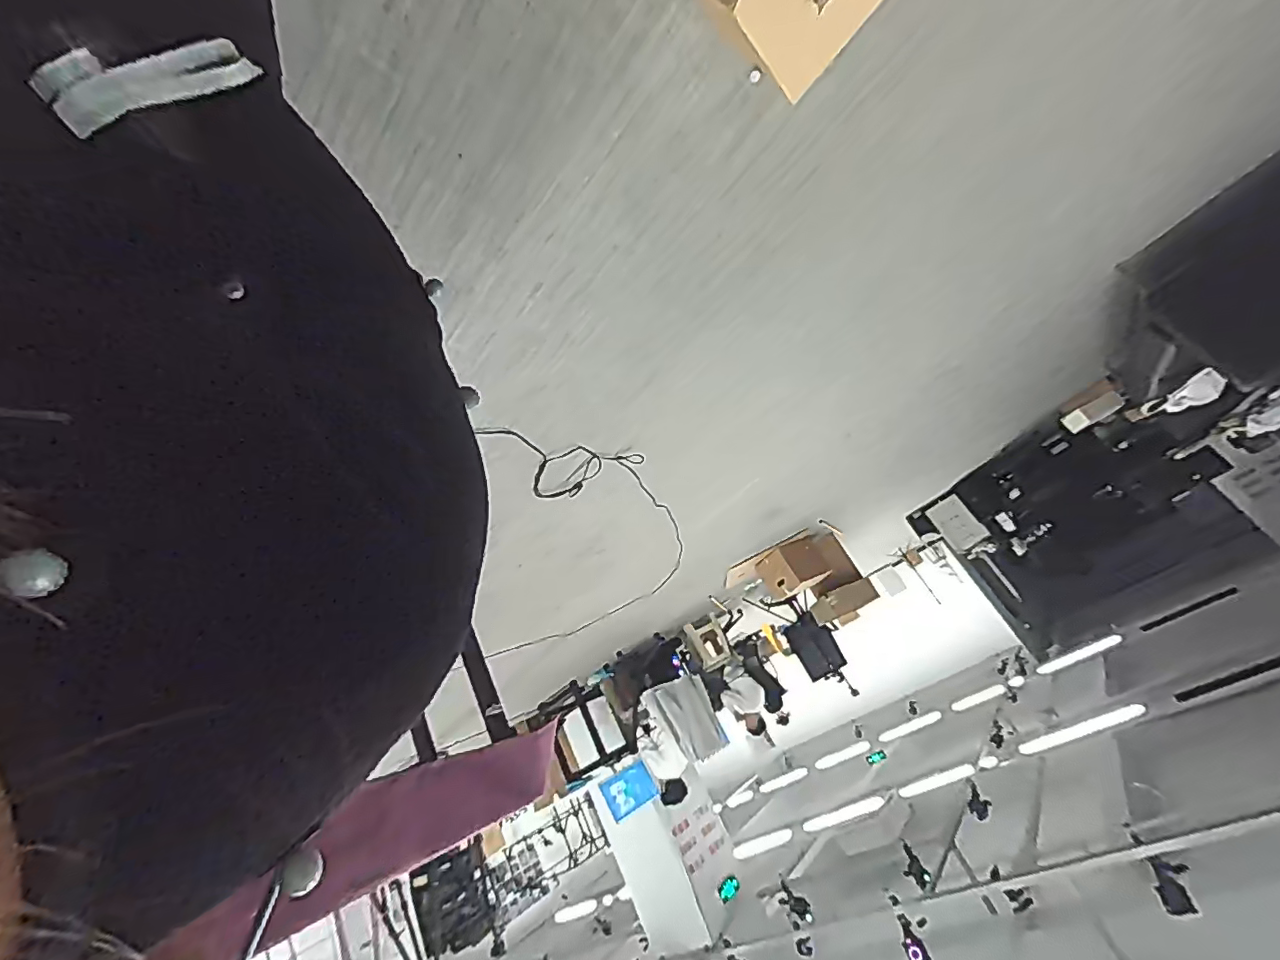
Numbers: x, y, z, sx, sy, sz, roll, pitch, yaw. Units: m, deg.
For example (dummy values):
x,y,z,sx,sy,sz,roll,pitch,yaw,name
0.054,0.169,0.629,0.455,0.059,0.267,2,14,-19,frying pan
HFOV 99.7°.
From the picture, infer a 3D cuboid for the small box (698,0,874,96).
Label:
x,y,z,sx,sy,sz,roll,pitch,yaw,name
0.159,-0.607,0.620,0.168,0.176,0.179,-44,153,28,small box
